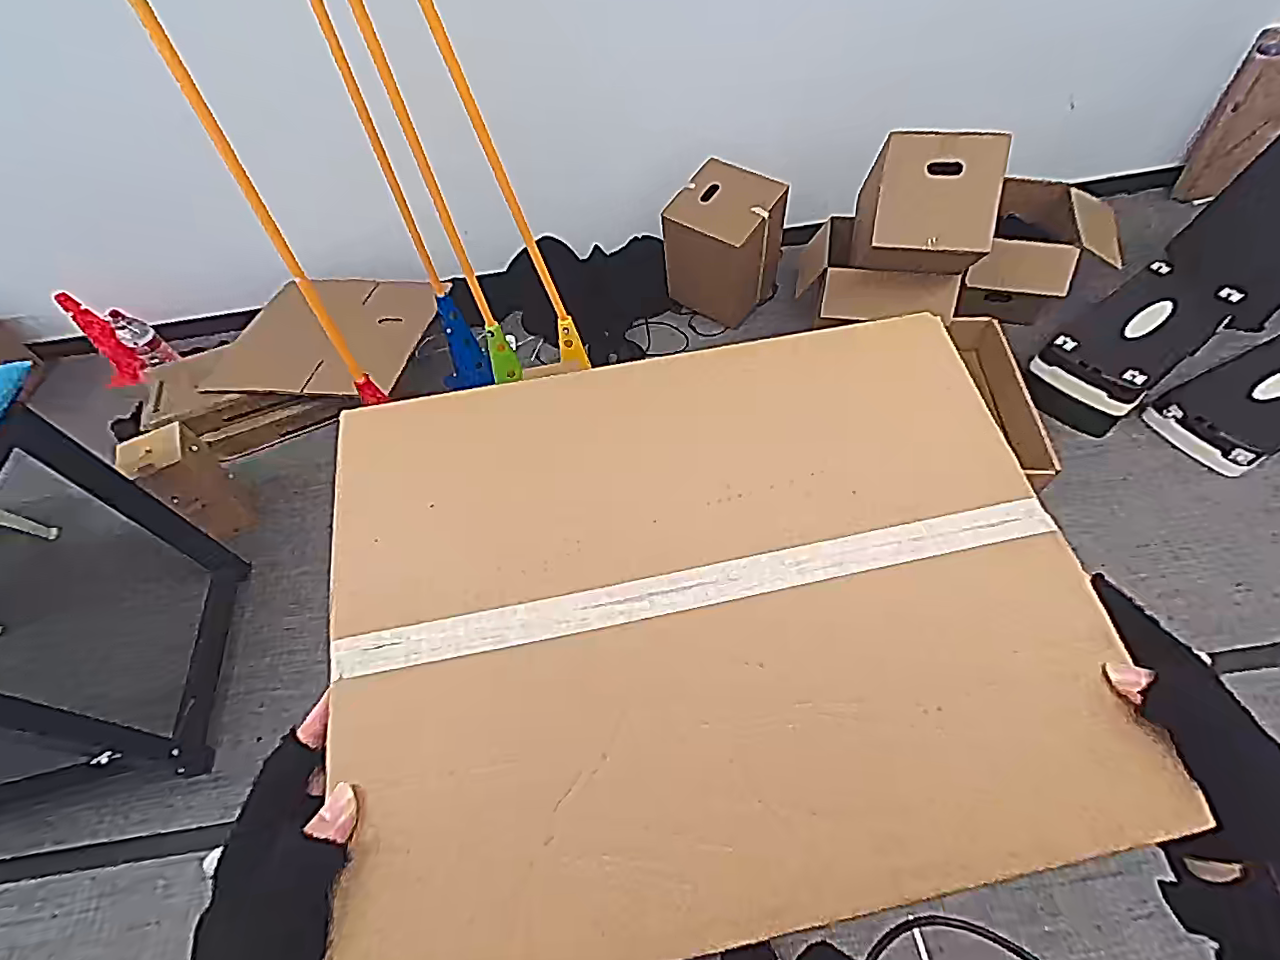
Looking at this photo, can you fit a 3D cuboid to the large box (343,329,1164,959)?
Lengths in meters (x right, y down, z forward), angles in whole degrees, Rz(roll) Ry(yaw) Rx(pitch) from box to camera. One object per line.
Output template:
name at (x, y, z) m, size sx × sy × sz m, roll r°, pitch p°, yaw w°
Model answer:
large box at (0.039, 0.127, 0.444) m, size 0.408 × 0.320 × 0.320 m, roll -11°, pitch 66°, yaw -4°
